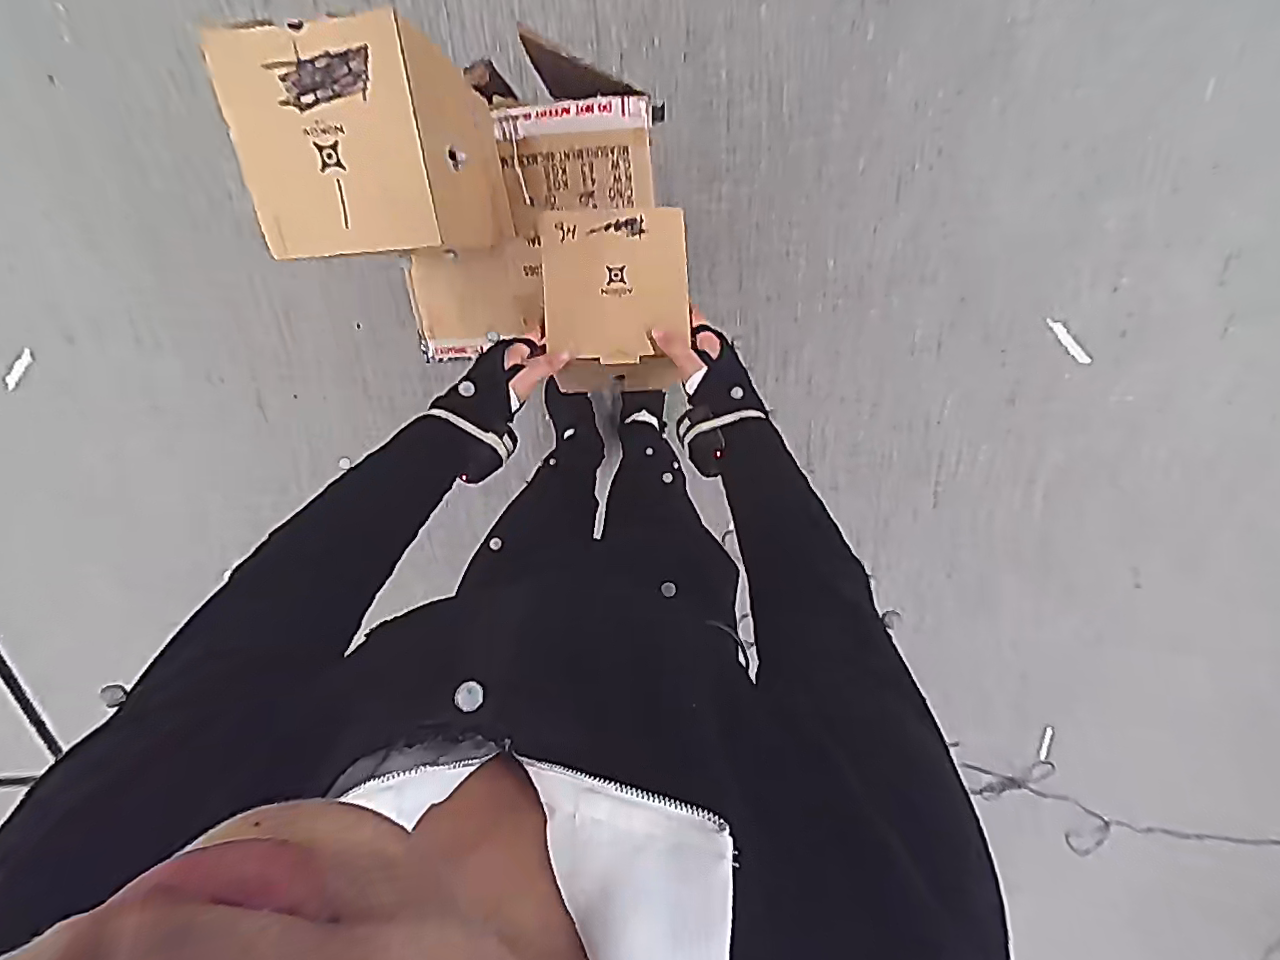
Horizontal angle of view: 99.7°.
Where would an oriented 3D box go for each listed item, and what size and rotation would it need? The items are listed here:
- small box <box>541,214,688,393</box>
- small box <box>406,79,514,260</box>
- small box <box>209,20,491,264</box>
[{"bbox_3d":[-0.029,-0.209,0.688,0.168,0.176,0.179,-3,88,-2],"label":"small box"},{"bbox_3d":[-0.275,-0.384,0.693,0.168,0.176,0.179,-6,113,5],"label":"small box"},{"bbox_3d":[-0.264,-0.317,0.543,0.168,0.176,0.179,-3,114,4],"label":"small box"}]
